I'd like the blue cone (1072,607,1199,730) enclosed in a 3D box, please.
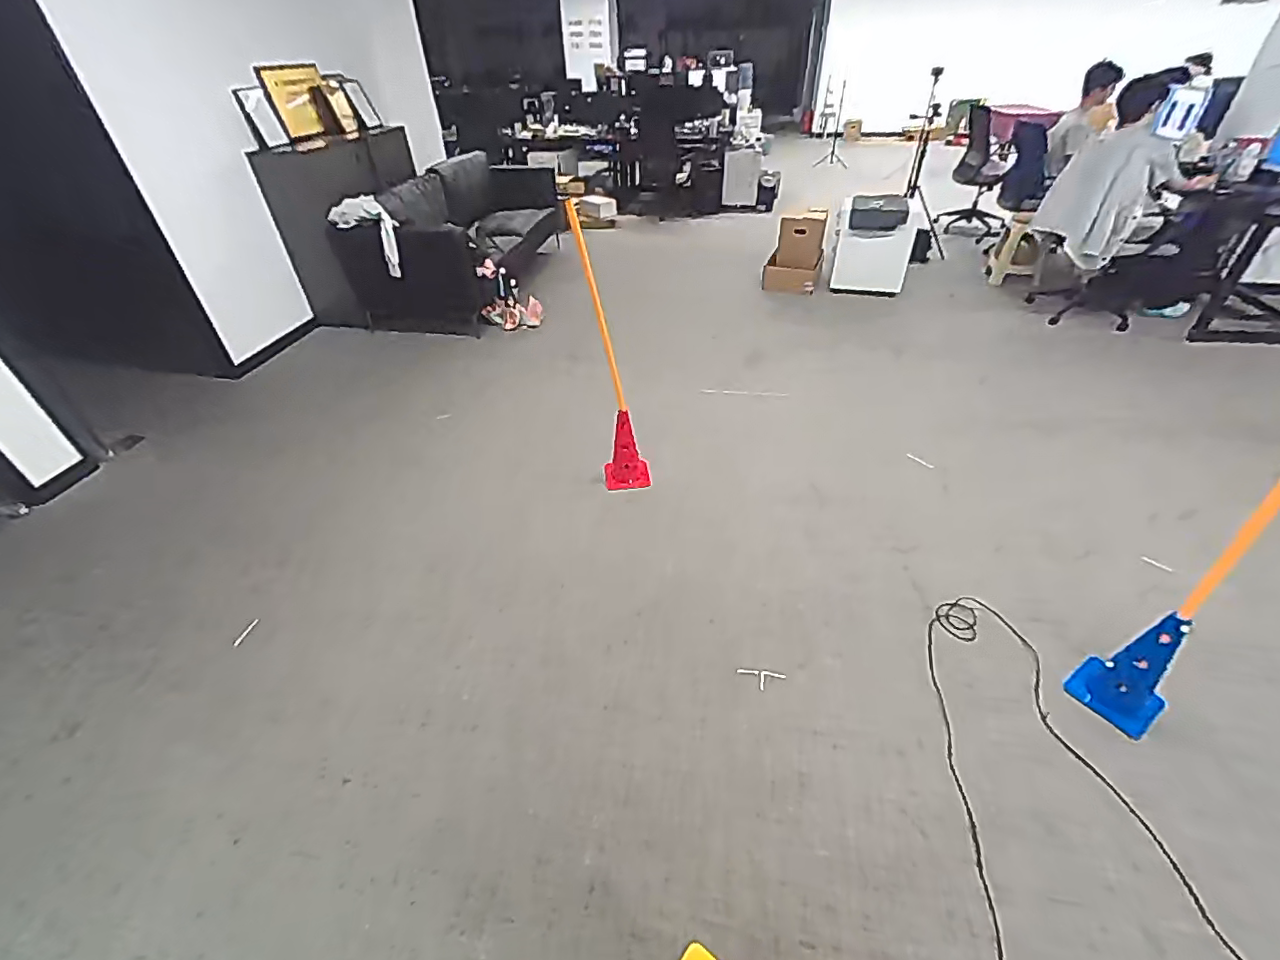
[{"bbox_3d":[1.391,0.481,1.484,0.193,0.380,0.192,-23,42,-28],"label":"blue cone"}]
